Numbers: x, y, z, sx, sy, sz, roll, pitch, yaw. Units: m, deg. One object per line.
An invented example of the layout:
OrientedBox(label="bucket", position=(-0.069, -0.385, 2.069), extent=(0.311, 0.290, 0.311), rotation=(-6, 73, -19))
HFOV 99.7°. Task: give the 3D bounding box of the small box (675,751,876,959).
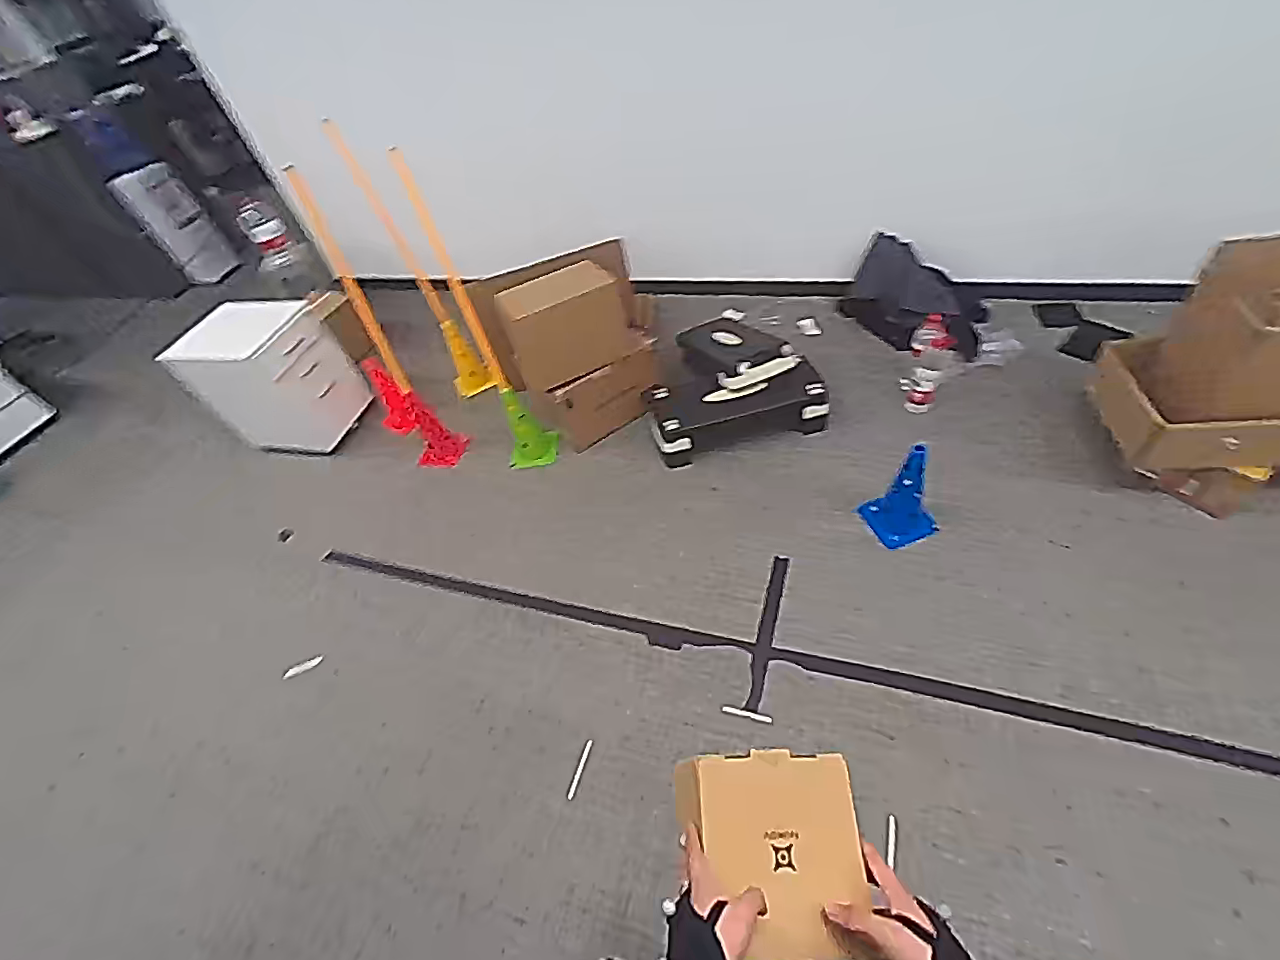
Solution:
OrientedBox(label="small box", position=(0.134, 0.409, 0.610), extent=(0.168, 0.176, 0.179), rotation=(1, 59, -5))
